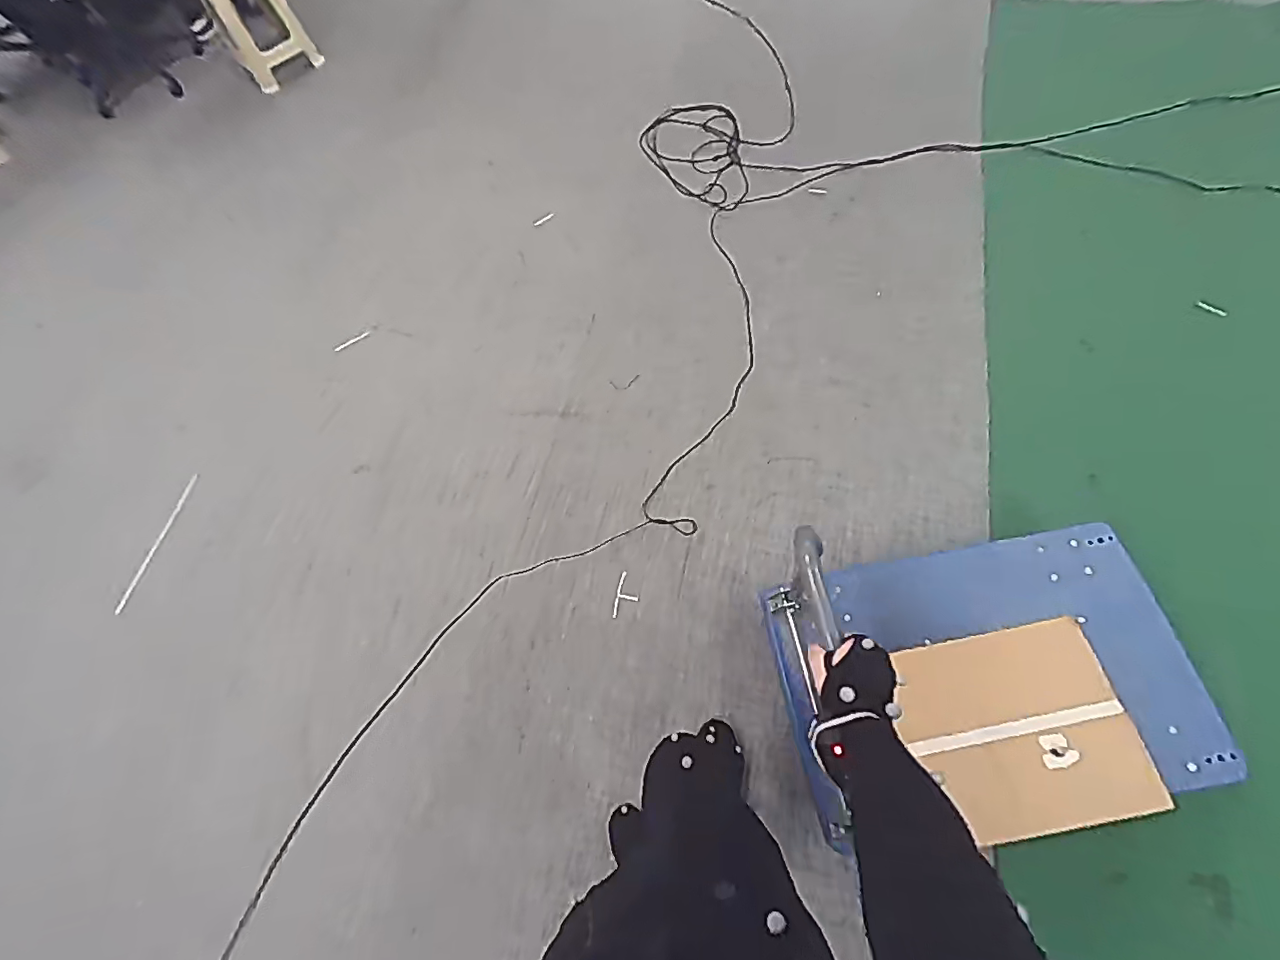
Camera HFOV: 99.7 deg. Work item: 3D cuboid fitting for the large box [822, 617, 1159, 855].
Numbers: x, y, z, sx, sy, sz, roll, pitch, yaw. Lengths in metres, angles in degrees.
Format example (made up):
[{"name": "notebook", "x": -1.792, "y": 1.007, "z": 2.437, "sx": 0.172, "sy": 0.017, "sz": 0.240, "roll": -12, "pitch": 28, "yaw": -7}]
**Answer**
[{"name": "large box", "x": 0.628, "y": 0.489, "z": 1.065, "sx": 0.408, "sy": 0.320, "sz": 0.320, "roll": -12, "pitch": 66, "yaw": 1}]
